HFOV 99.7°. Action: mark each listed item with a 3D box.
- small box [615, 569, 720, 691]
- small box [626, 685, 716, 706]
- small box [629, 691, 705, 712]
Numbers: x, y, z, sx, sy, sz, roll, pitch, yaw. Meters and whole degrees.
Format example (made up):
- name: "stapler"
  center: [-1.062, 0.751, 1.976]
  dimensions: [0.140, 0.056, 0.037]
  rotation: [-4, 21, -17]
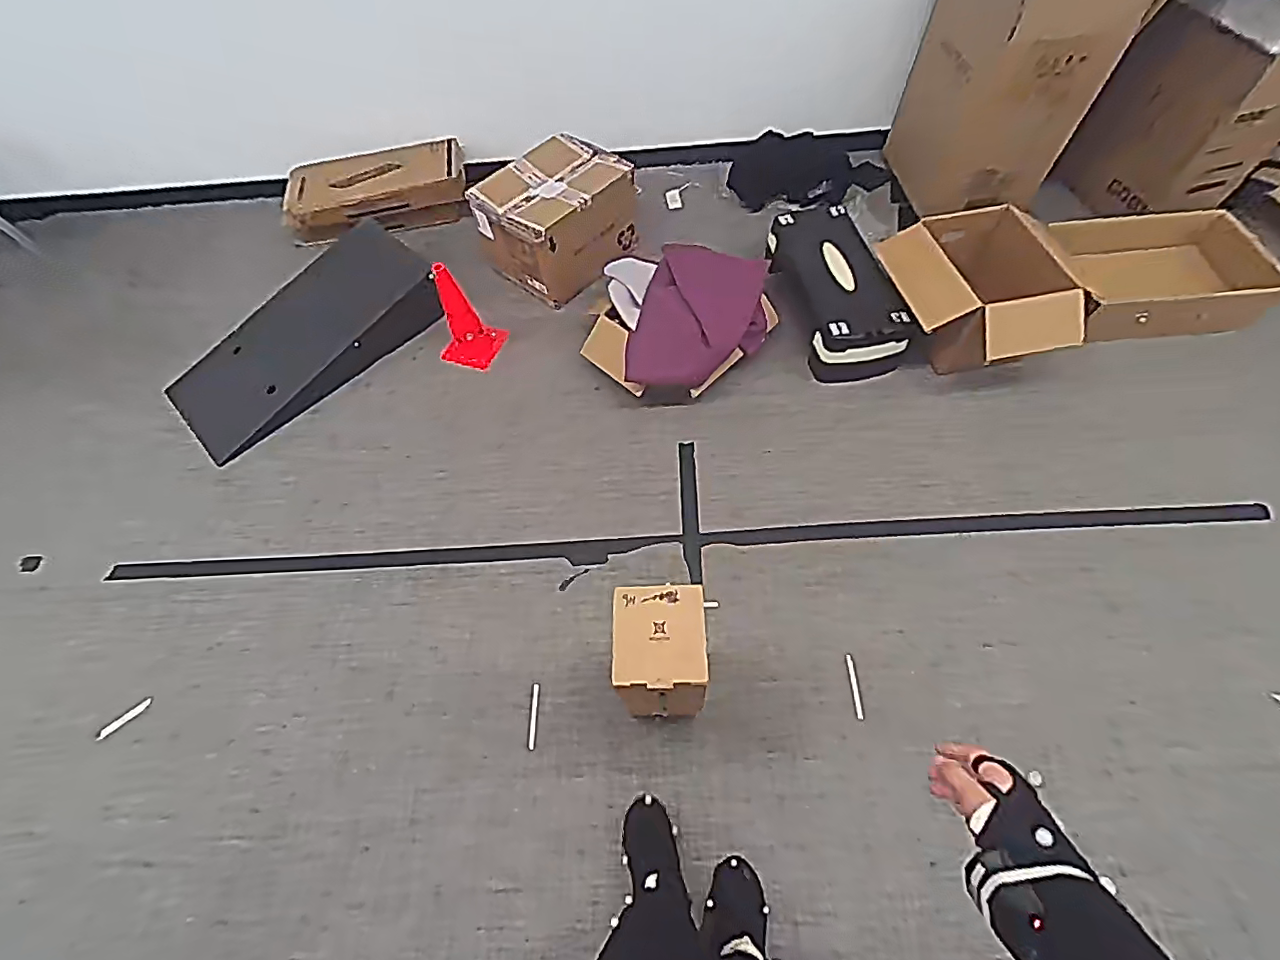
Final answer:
- name: "small box"
  center: [0.050, 0.266, 0.939]
  dimensions: [0.168, 0.176, 0.179]
  rotation: [-2, 60, 3]
- name: "small box"
  center: [0.061, 0.346, 1.081]
  dimensions: [0.168, 0.176, 0.179]
  rotation: [-3, 60, 4]
- name: "small box"
  center: [0.063, 0.422, 1.229]
  dimensions: [0.168, 0.176, 0.179]
  rotation: [-3, 61, 3]
